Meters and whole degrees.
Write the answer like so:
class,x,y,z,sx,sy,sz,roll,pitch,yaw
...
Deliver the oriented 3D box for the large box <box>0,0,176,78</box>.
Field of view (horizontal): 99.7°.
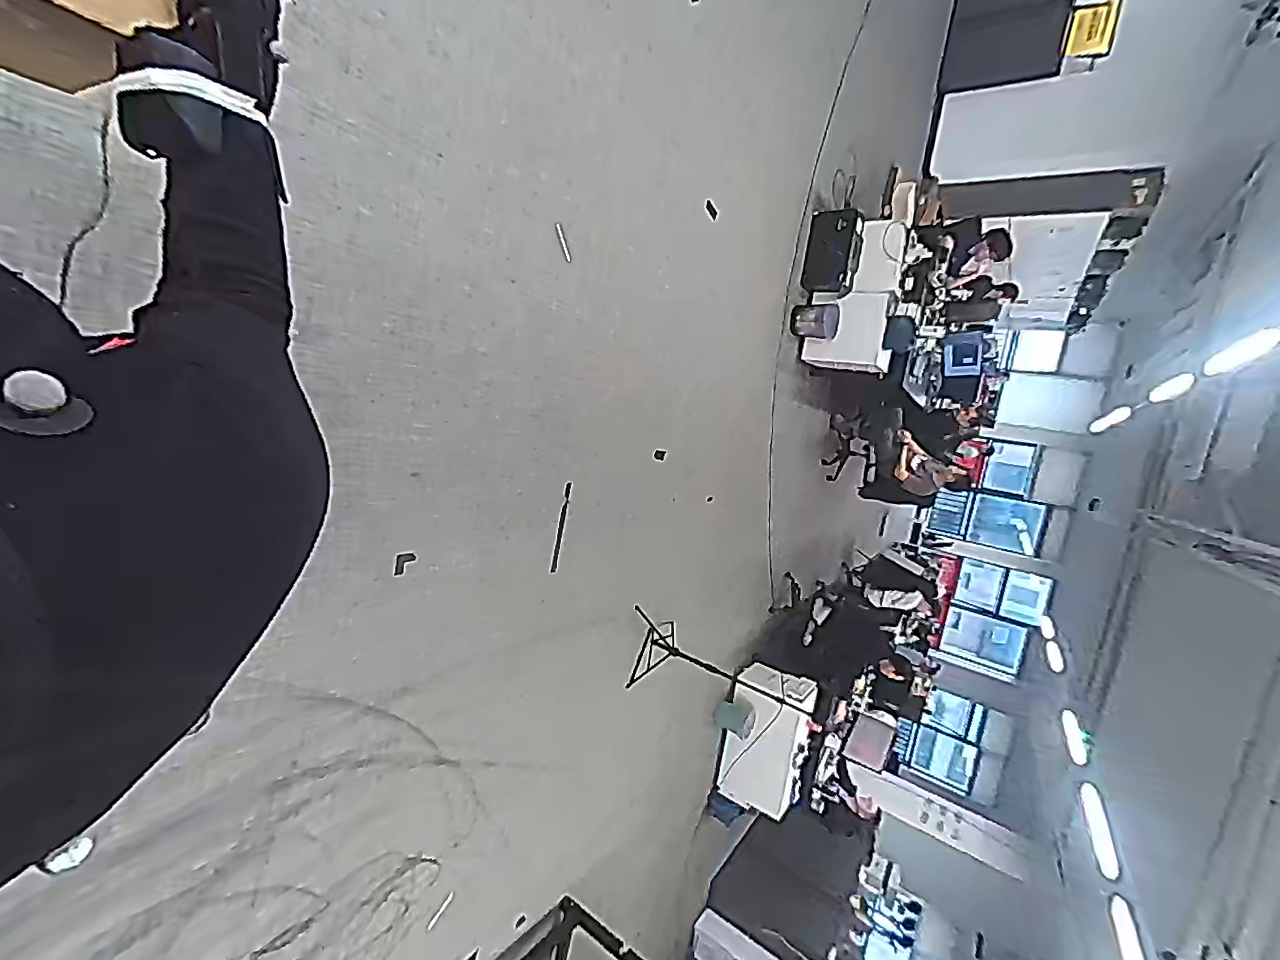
class,x,y,z,sx,sy,sz,roll,pitch,yaw
large box,-0.534,-0.487,0.269,0.408,0.320,0.320,-5,113,-56
